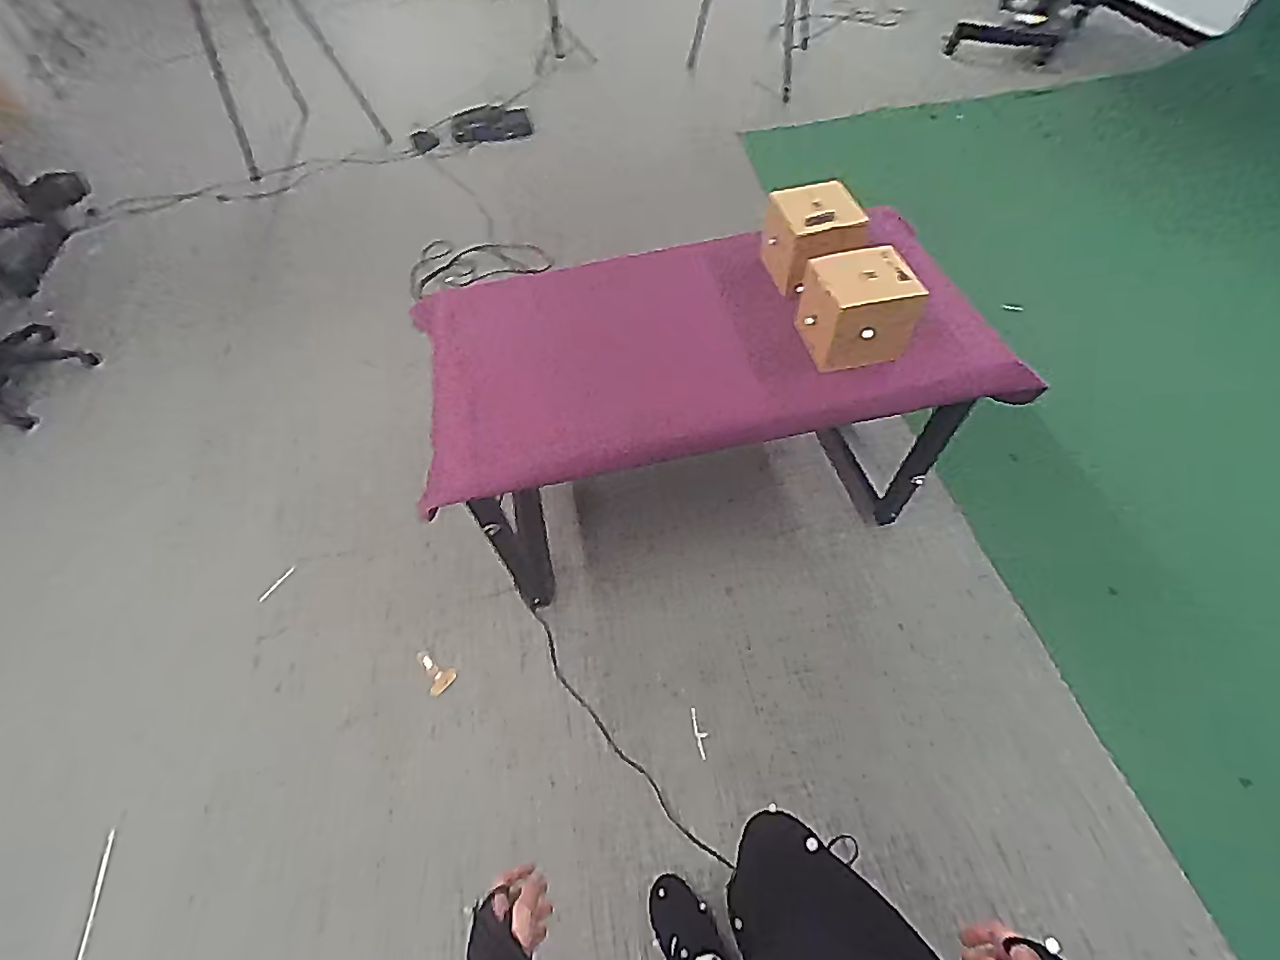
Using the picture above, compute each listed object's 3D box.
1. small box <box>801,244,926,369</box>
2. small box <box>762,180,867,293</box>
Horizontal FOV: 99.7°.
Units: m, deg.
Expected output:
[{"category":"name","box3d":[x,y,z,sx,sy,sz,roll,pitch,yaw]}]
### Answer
[{"category":"small box","box3d":[0.441,-0.349,1.108,0.179,0.176,0.168,-11,56,-2]},{"category":"small box","box3d":[0.391,-0.553,1.247,0.168,0.176,0.179,-12,56,-3]}]
